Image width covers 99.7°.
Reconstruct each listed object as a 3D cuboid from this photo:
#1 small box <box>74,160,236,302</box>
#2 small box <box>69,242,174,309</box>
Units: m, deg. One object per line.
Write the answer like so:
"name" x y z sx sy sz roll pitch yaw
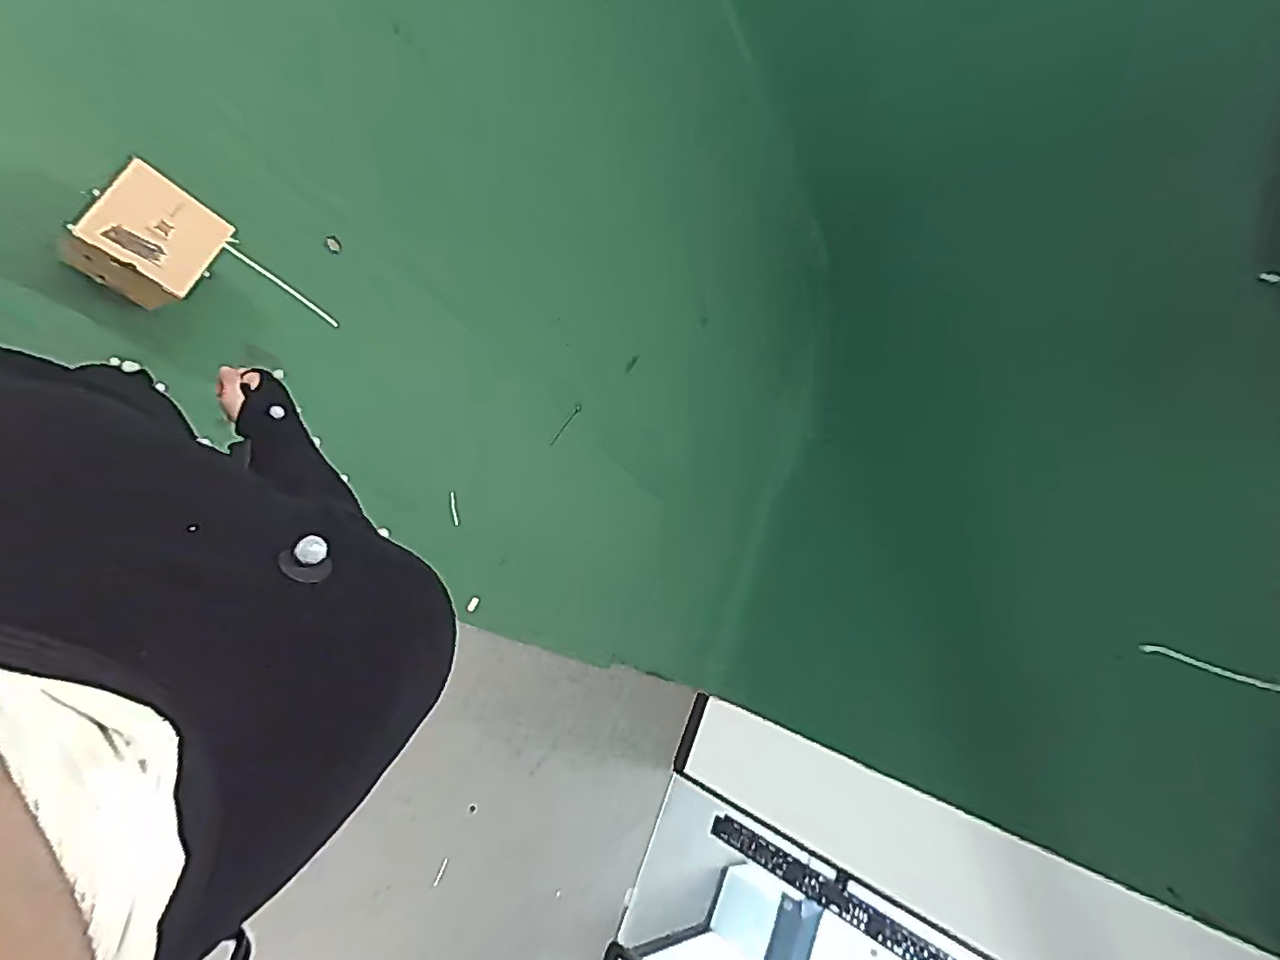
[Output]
"small box" -0.928 -0.462 1.034 0.168 0.176 0.179 40 67 -46
"small box" -1.050 -0.484 1.140 0.168 0.176 0.179 39 69 -46
